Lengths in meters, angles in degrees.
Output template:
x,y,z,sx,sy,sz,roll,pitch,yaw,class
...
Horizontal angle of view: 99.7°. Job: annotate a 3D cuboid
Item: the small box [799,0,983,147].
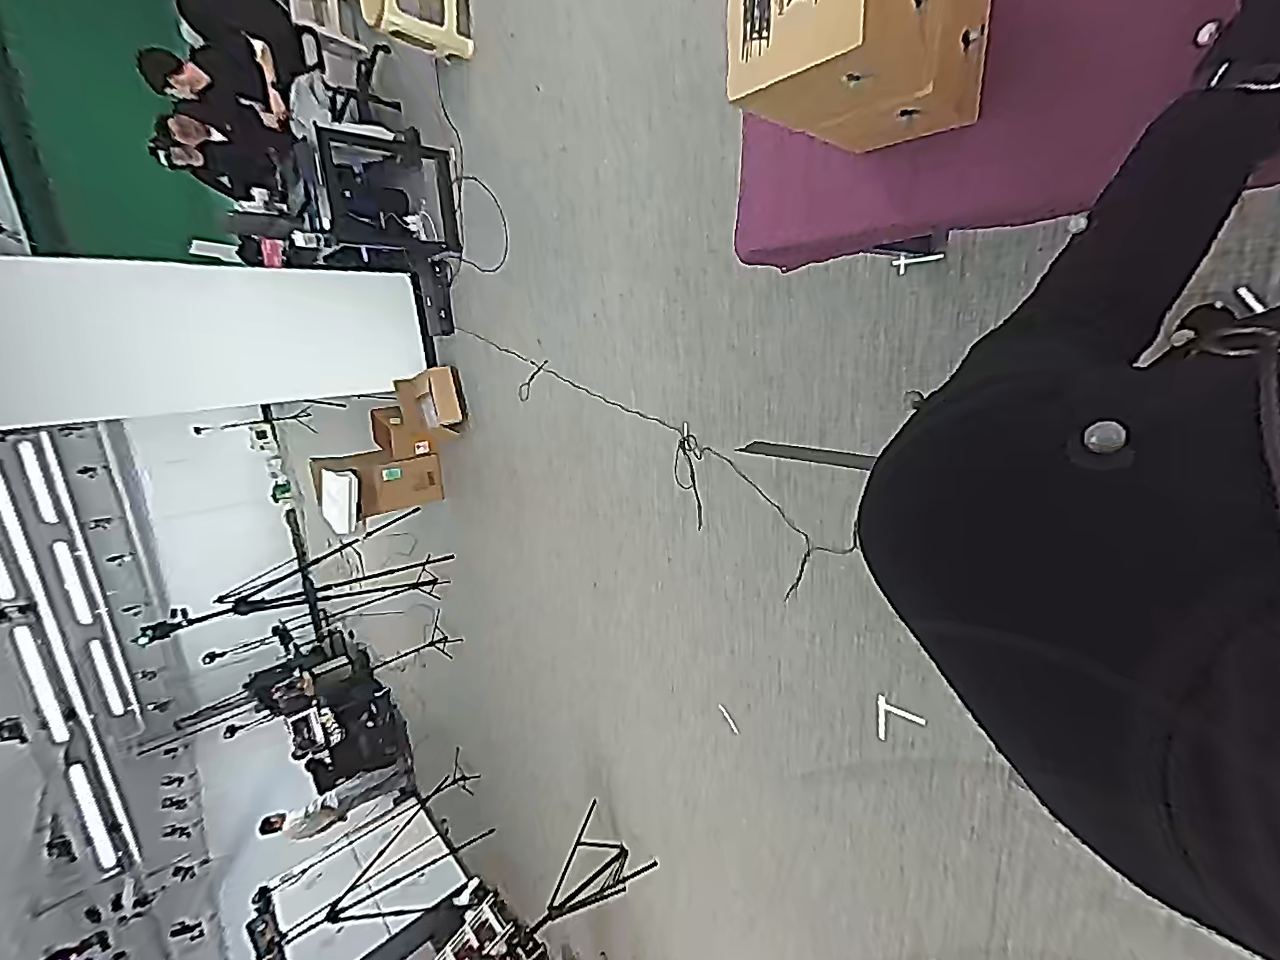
x,y,z,sx,sy,sz,roll,pitch,yaw,class
0.341,-0.577,0.738,0.179,0.176,0.168,15,114,45,small box
